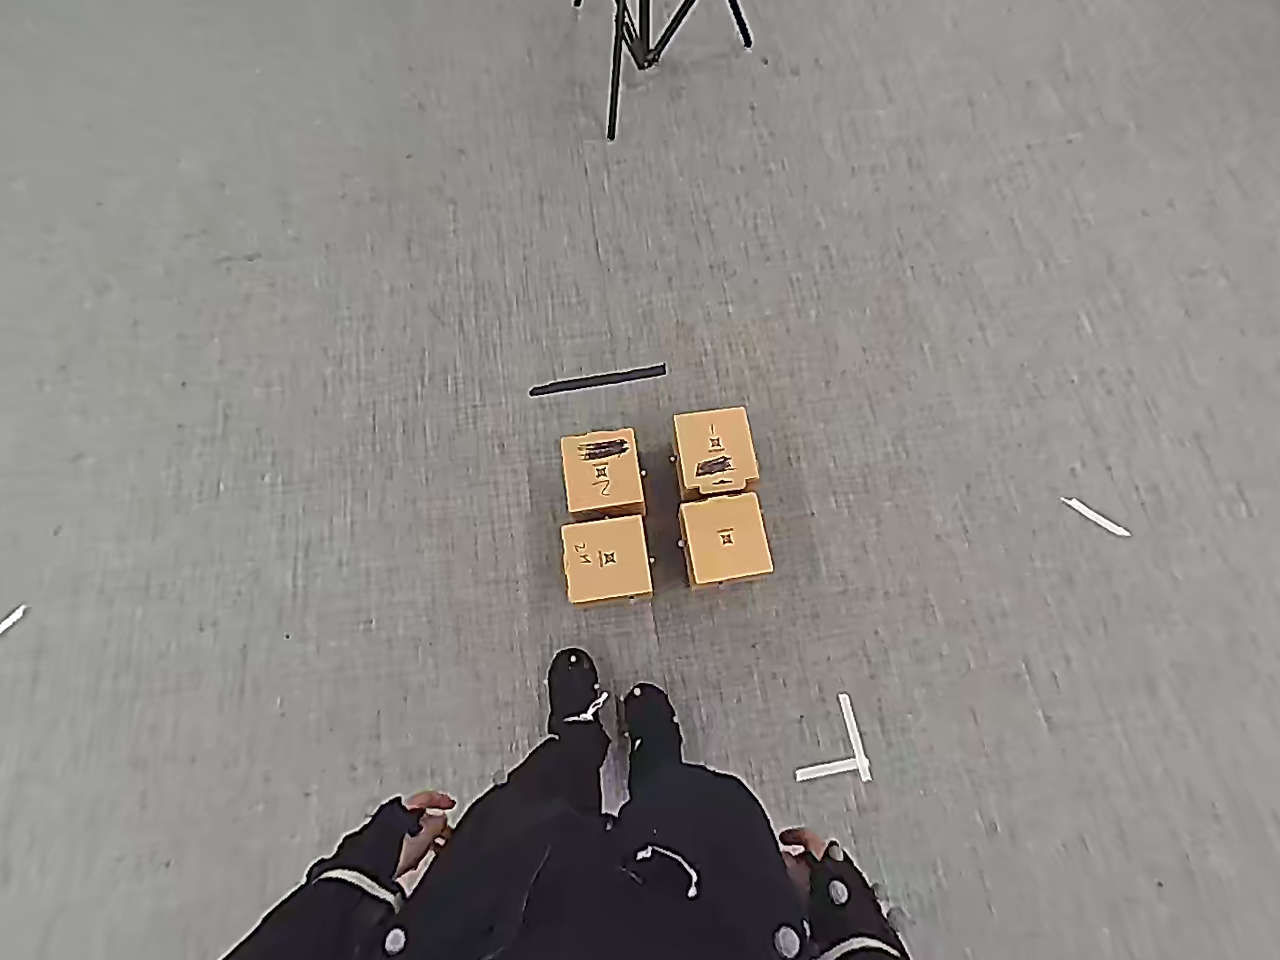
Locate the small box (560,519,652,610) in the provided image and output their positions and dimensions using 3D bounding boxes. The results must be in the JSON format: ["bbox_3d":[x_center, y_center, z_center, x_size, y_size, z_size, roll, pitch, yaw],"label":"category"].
[{"bbox_3d":[-0.072,0.192,1.195,0.179,0.176,0.168,-8,73,-1],"label":"small box"}]
